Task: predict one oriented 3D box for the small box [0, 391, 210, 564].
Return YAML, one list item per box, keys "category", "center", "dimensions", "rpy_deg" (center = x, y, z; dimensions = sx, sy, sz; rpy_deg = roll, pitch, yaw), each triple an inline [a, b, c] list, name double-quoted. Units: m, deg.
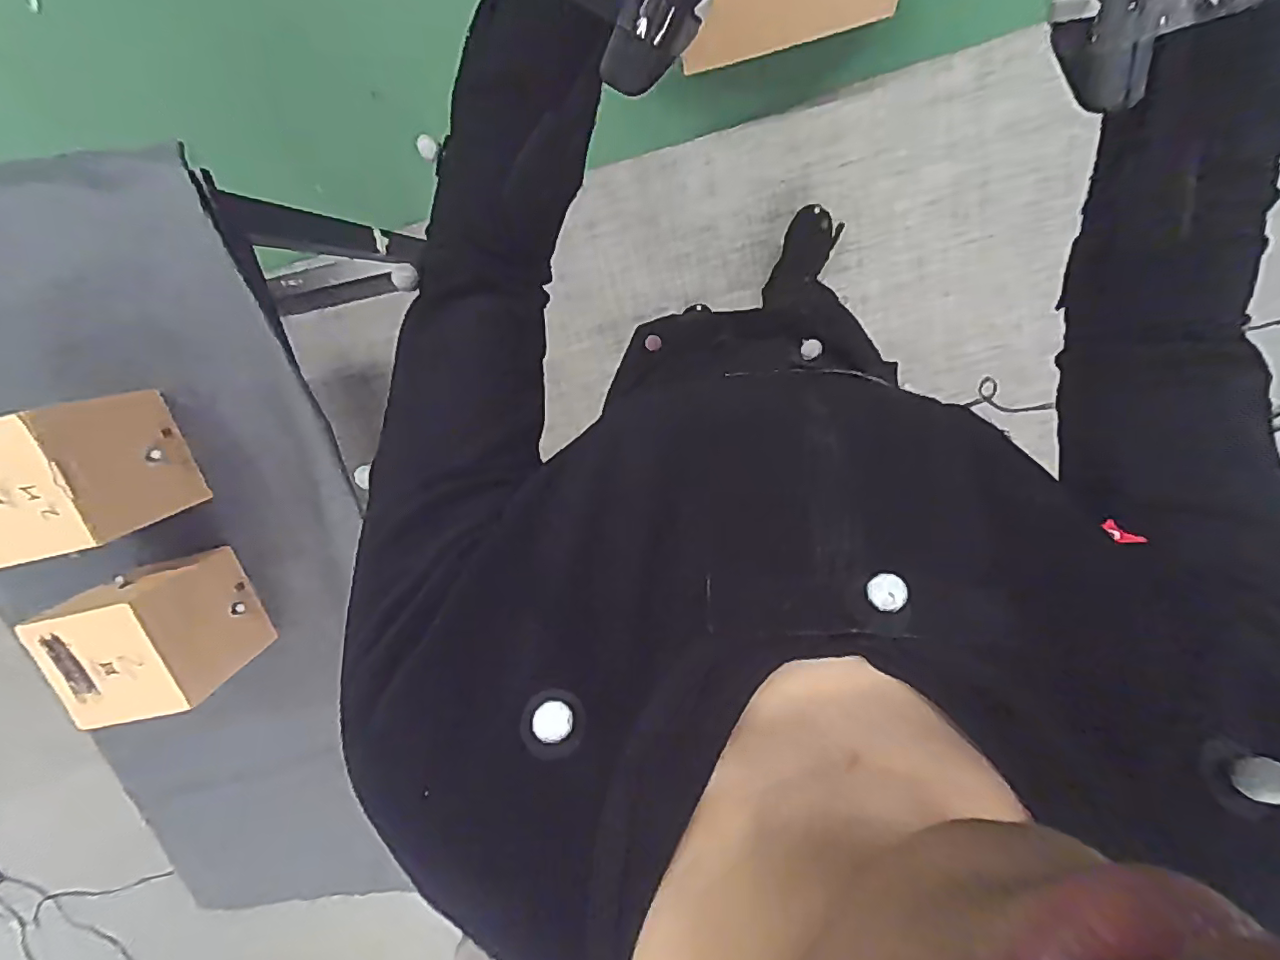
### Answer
- category: "small box"
  center: [-0.724, -0.009, 0.698]
  dimensions: [0.179, 0.176, 0.168]
  rpy_deg: [-12, 107, 8]
